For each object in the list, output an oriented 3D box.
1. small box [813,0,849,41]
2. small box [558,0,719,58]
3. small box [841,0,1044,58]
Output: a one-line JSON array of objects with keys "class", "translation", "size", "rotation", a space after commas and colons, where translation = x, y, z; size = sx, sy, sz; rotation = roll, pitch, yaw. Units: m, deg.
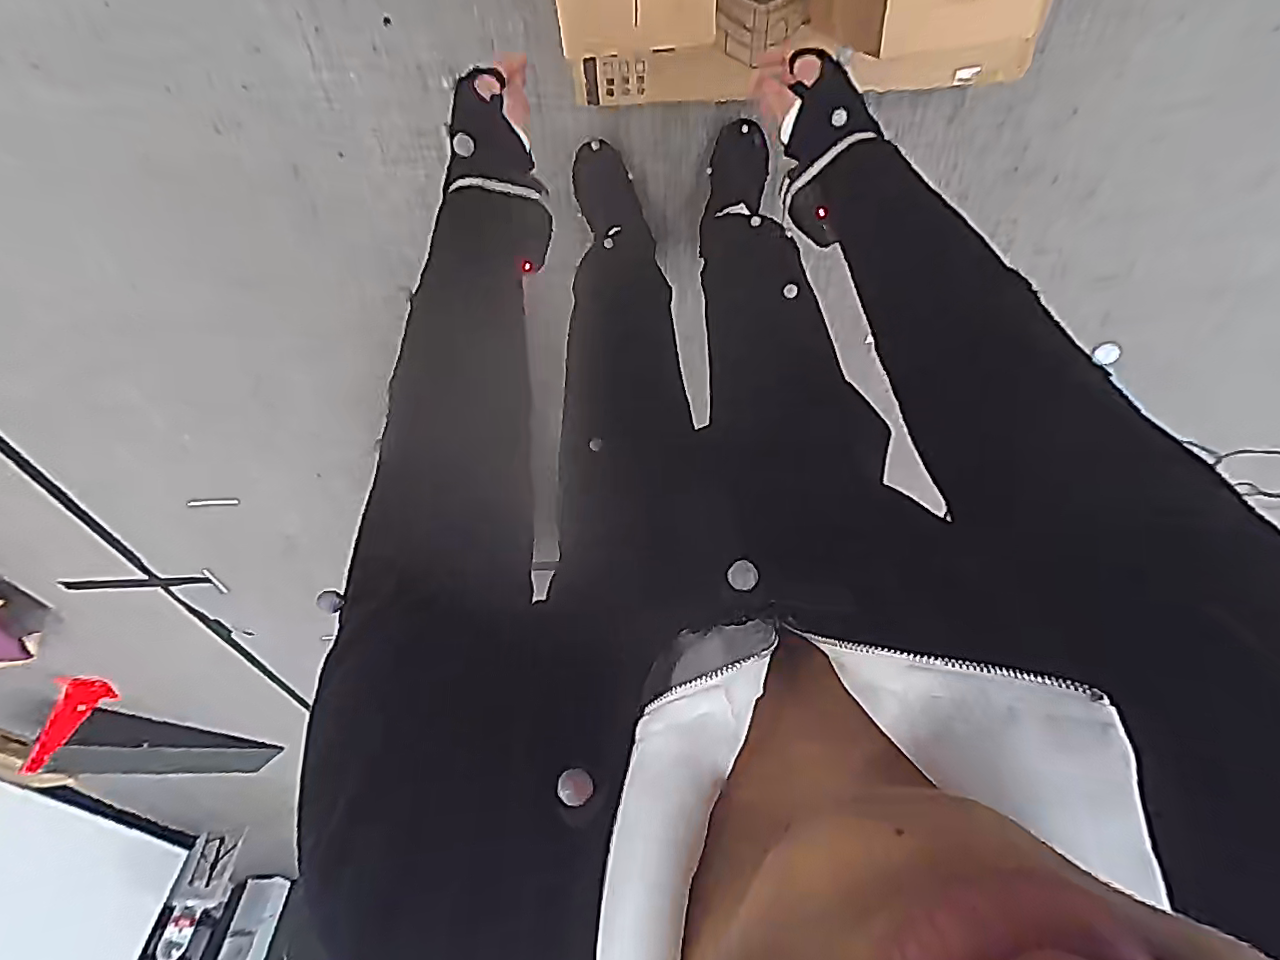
[{"class": "small box", "translation": [0.334, -0.701, 0.702], "size": [0.168, 0.176, 0.179], "rotation": [-5, 135, 1]}, {"class": "small box", "translation": [-0.009, -0.574, 0.575], "size": [0.168, 0.176, 0.179], "rotation": [-5, 134, 1]}, {"class": "small box", "translation": [0.331, -0.587, 0.586], "size": [0.168, 0.176, 0.179], "rotation": [-6, 134, 4]}]
